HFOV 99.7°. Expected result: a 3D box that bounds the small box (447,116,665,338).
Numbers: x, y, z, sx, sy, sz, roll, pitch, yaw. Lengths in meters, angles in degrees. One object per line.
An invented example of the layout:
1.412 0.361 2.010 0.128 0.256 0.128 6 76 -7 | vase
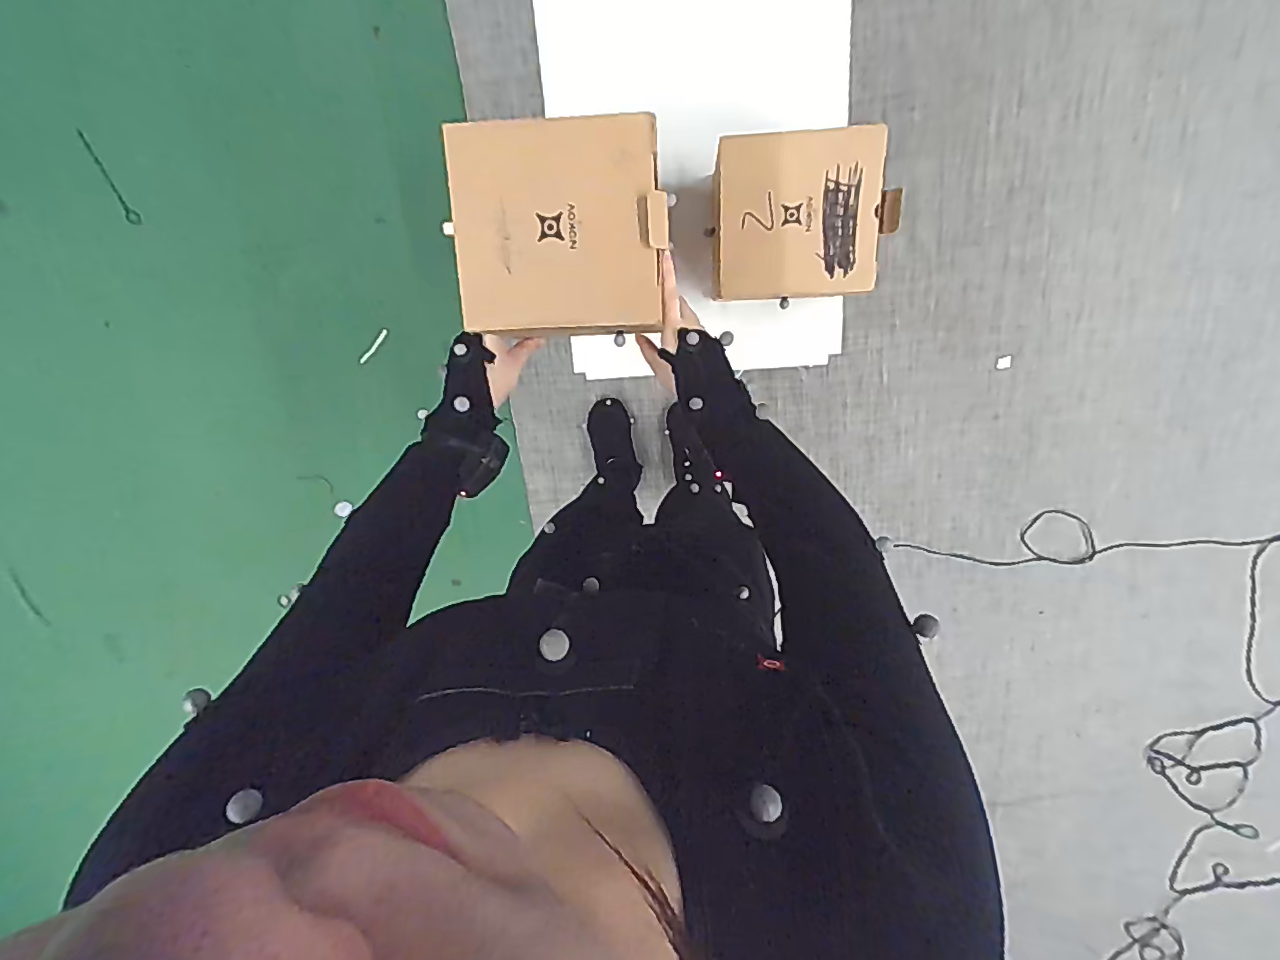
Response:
-0.065 -0.229 0.531 0.179 0.176 0.168 -2 102 4 | small box
